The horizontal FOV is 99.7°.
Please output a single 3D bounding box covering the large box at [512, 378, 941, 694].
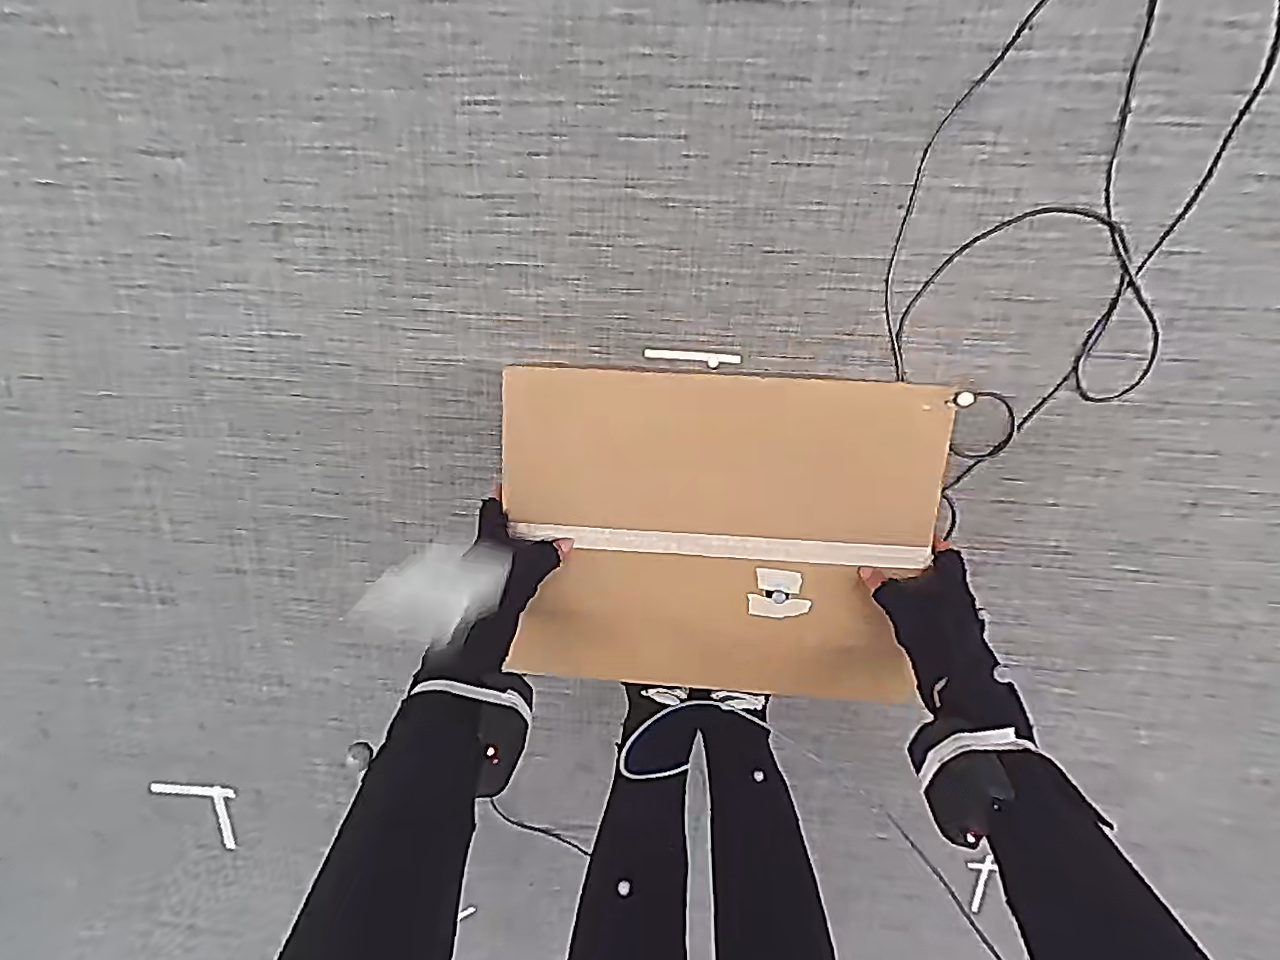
[{"bbox_3d":[0.081,0.032,0.676,0.408,0.320,0.320,3,103,4],"label":"large box"}]
